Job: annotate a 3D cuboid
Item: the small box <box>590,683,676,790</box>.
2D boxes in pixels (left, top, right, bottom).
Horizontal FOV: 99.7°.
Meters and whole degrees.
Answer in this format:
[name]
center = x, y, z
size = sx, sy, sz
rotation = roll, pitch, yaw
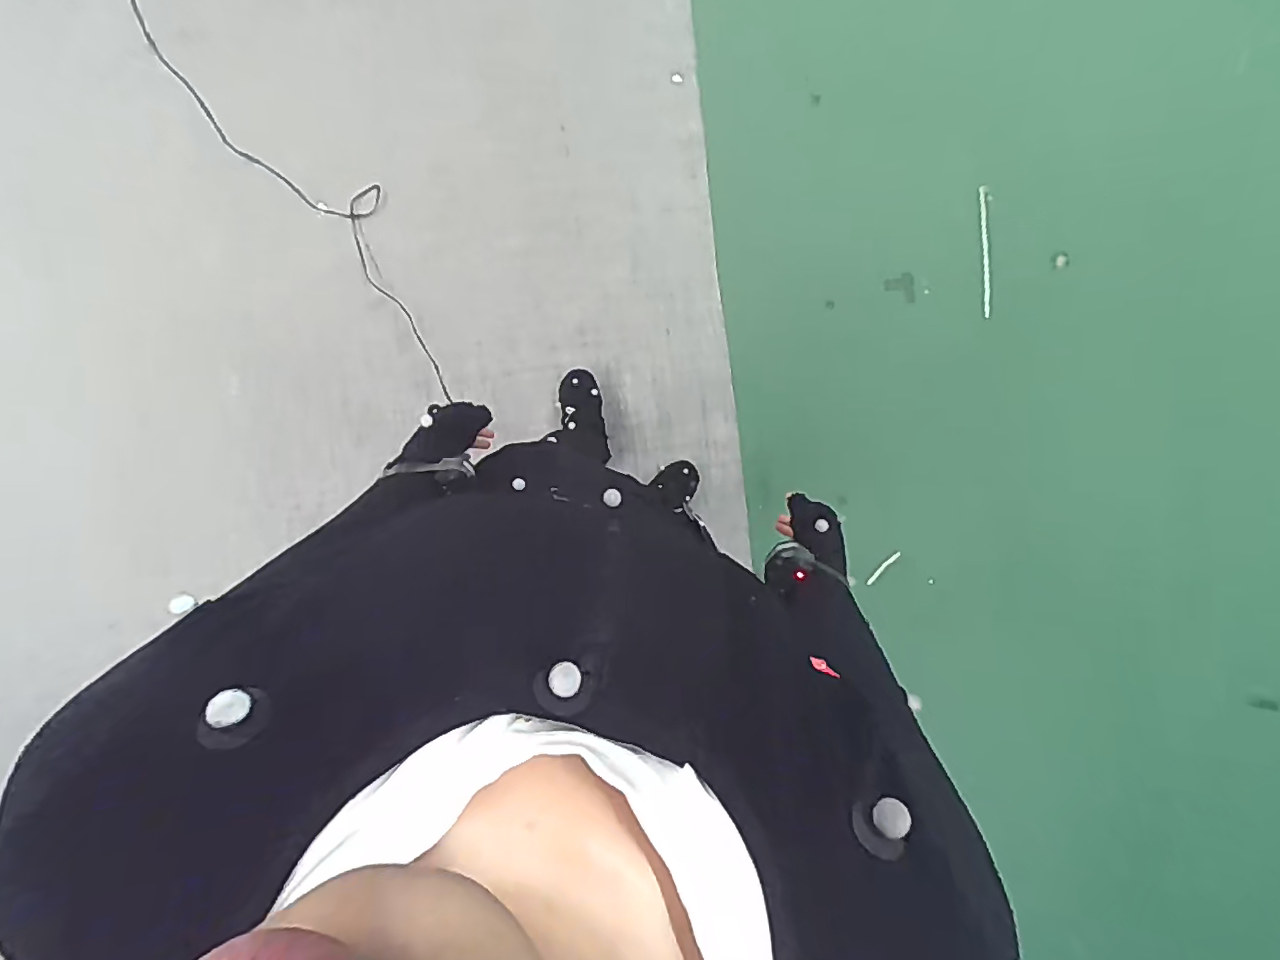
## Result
[small box]
center = -0.016, 0.654, 1.407
size = 0.168, 0.176, 0.179
rotation = -22, 96, 5
